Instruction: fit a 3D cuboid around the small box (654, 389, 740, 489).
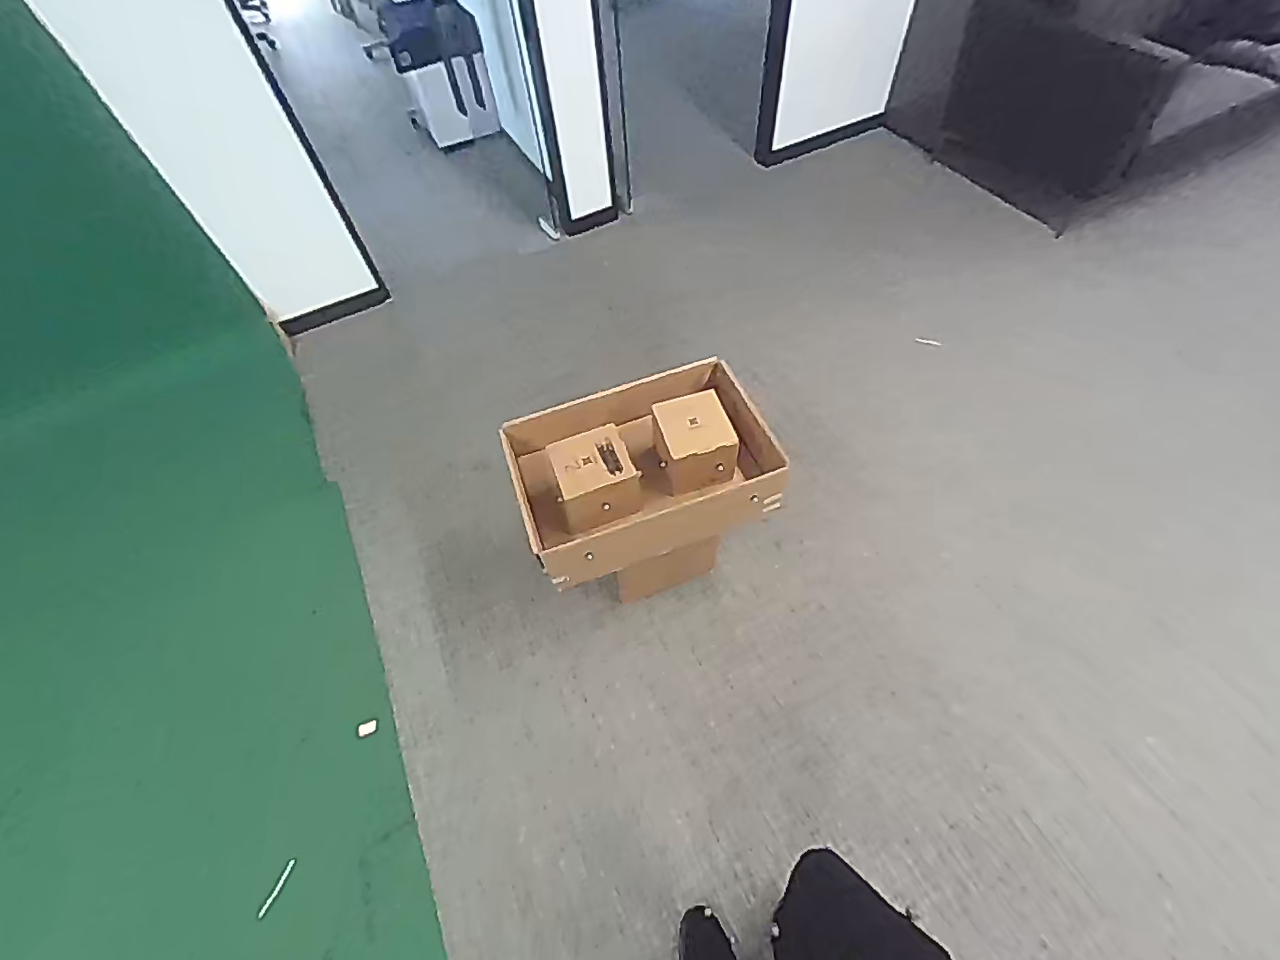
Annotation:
[{"bbox_3d":[0.140,-0.094,1.357,0.168,0.176,0.179,-16,57,-5],"label":"small box"}]
